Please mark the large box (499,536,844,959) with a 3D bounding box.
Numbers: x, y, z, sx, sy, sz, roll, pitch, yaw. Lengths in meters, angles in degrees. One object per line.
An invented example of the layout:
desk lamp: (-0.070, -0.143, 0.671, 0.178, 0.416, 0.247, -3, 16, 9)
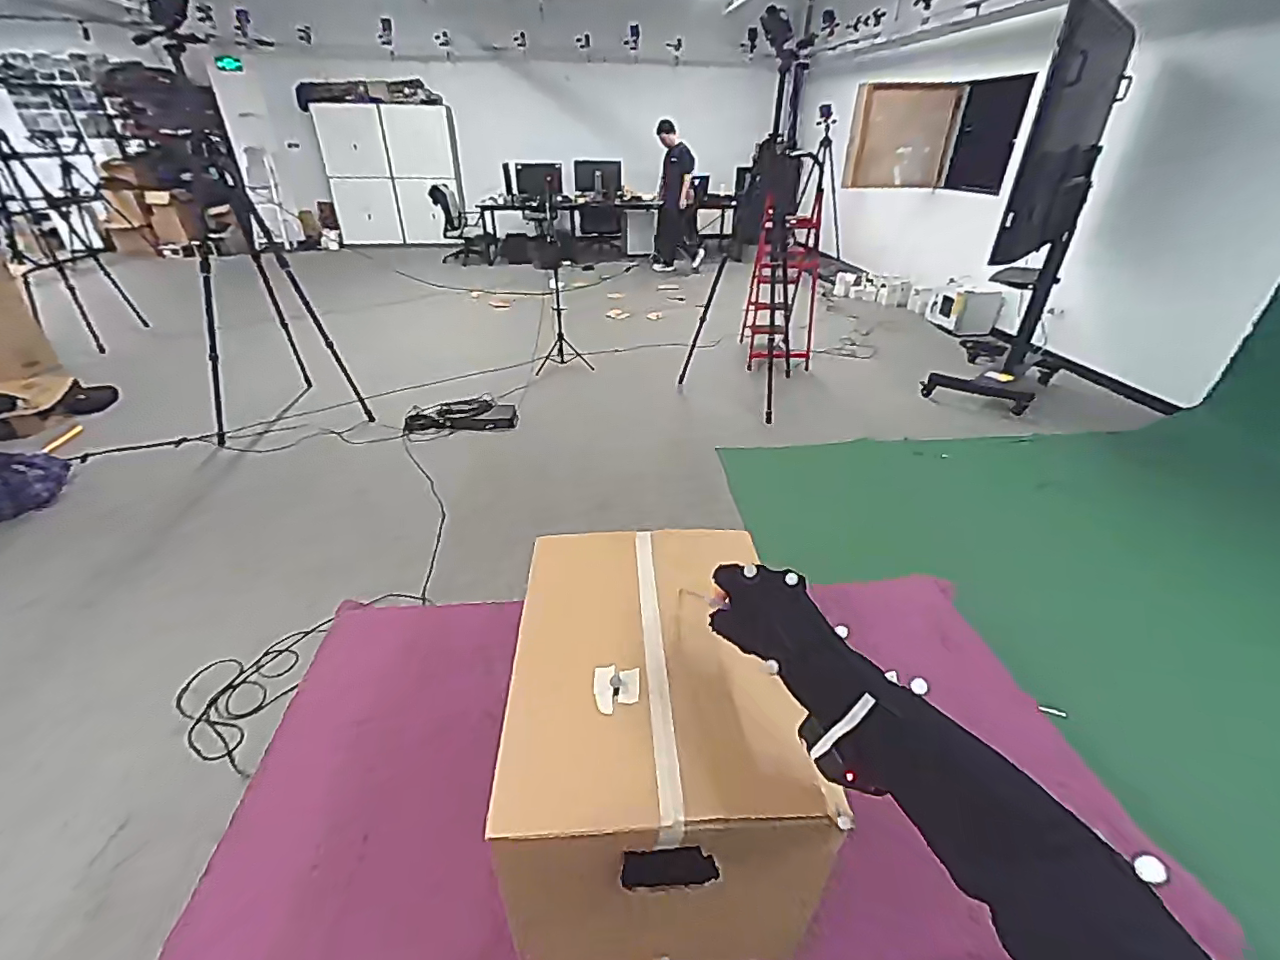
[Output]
large box: (0.012, 0.318, 0.714, 0.320, 0.320, 0.408, -1, 33, -3)
